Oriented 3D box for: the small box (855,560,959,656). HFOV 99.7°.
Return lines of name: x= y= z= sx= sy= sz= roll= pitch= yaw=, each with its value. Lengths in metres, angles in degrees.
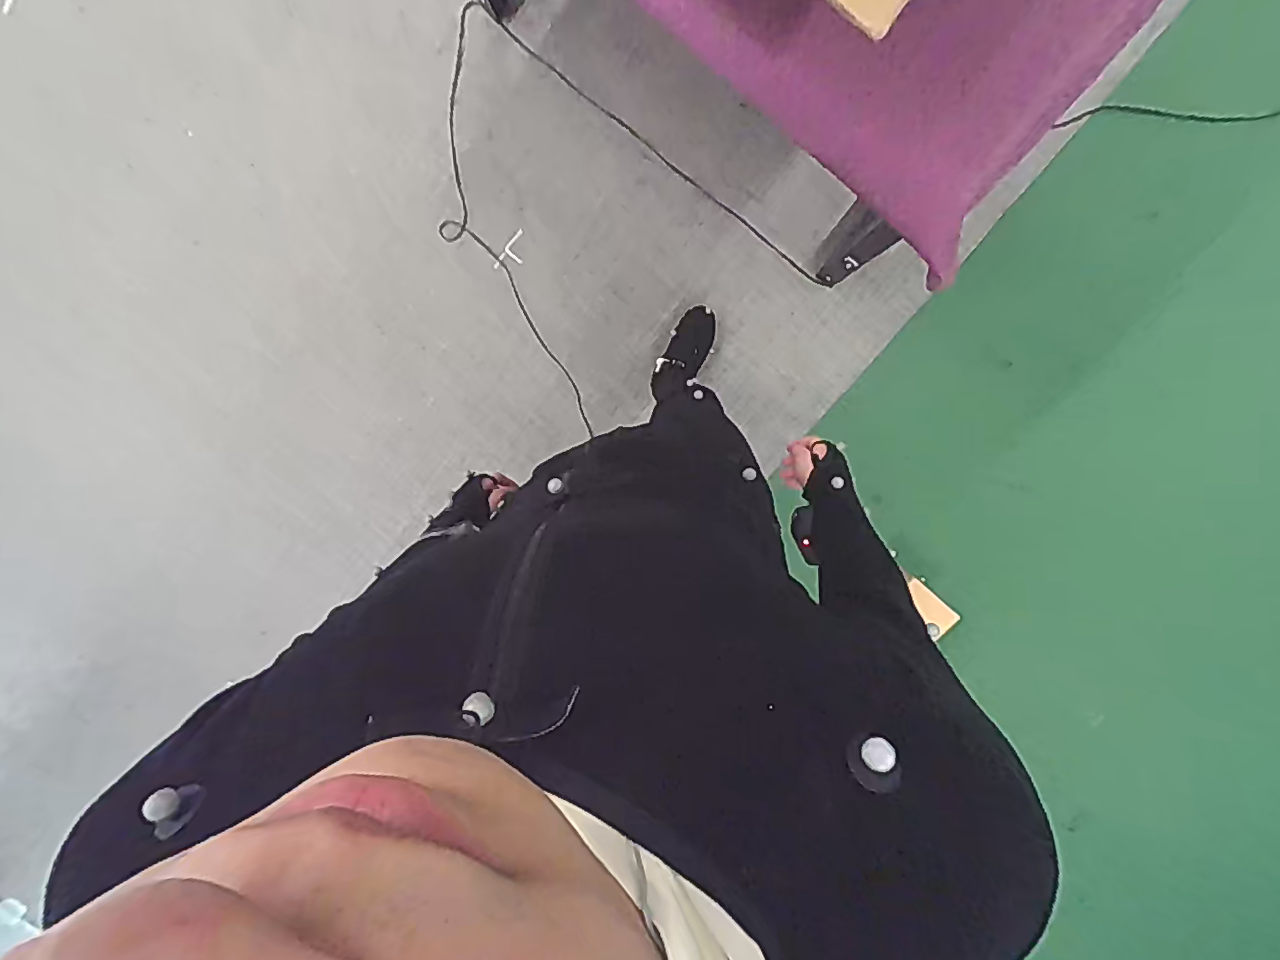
small box: x=0.752 y=0.356 z=1.543 sx=0.179 sy=0.176 sz=0.168 roll=39 pitch=101 yaw=-3
